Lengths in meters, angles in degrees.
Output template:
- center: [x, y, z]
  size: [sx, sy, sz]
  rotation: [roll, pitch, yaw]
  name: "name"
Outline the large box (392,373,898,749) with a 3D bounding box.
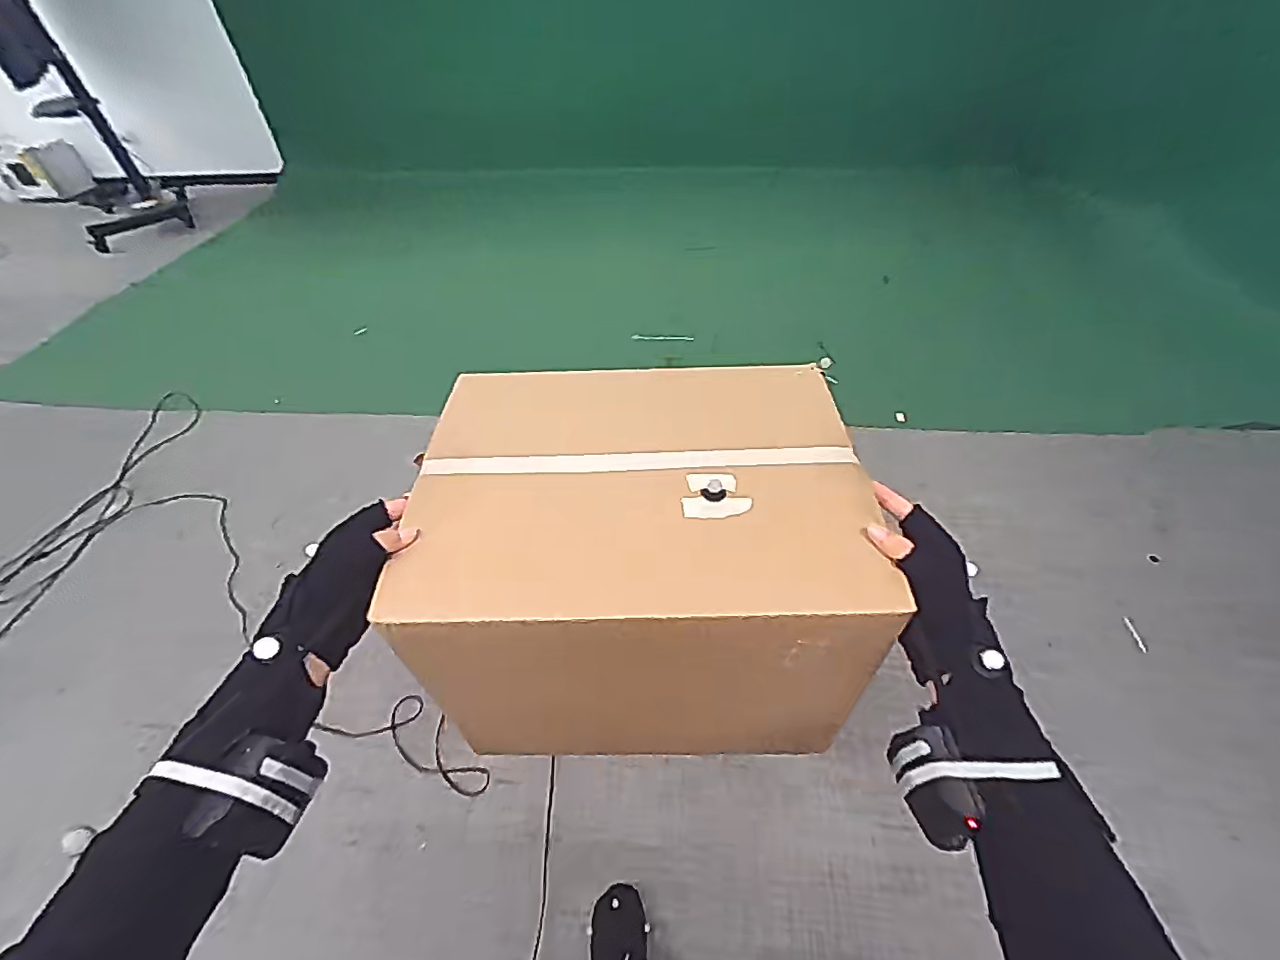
- center: [0.002, 0.094, 0.626]
  size: [0.408, 0.320, 0.320]
  rotation: [-1, 46, 0]
  name: "large box"
